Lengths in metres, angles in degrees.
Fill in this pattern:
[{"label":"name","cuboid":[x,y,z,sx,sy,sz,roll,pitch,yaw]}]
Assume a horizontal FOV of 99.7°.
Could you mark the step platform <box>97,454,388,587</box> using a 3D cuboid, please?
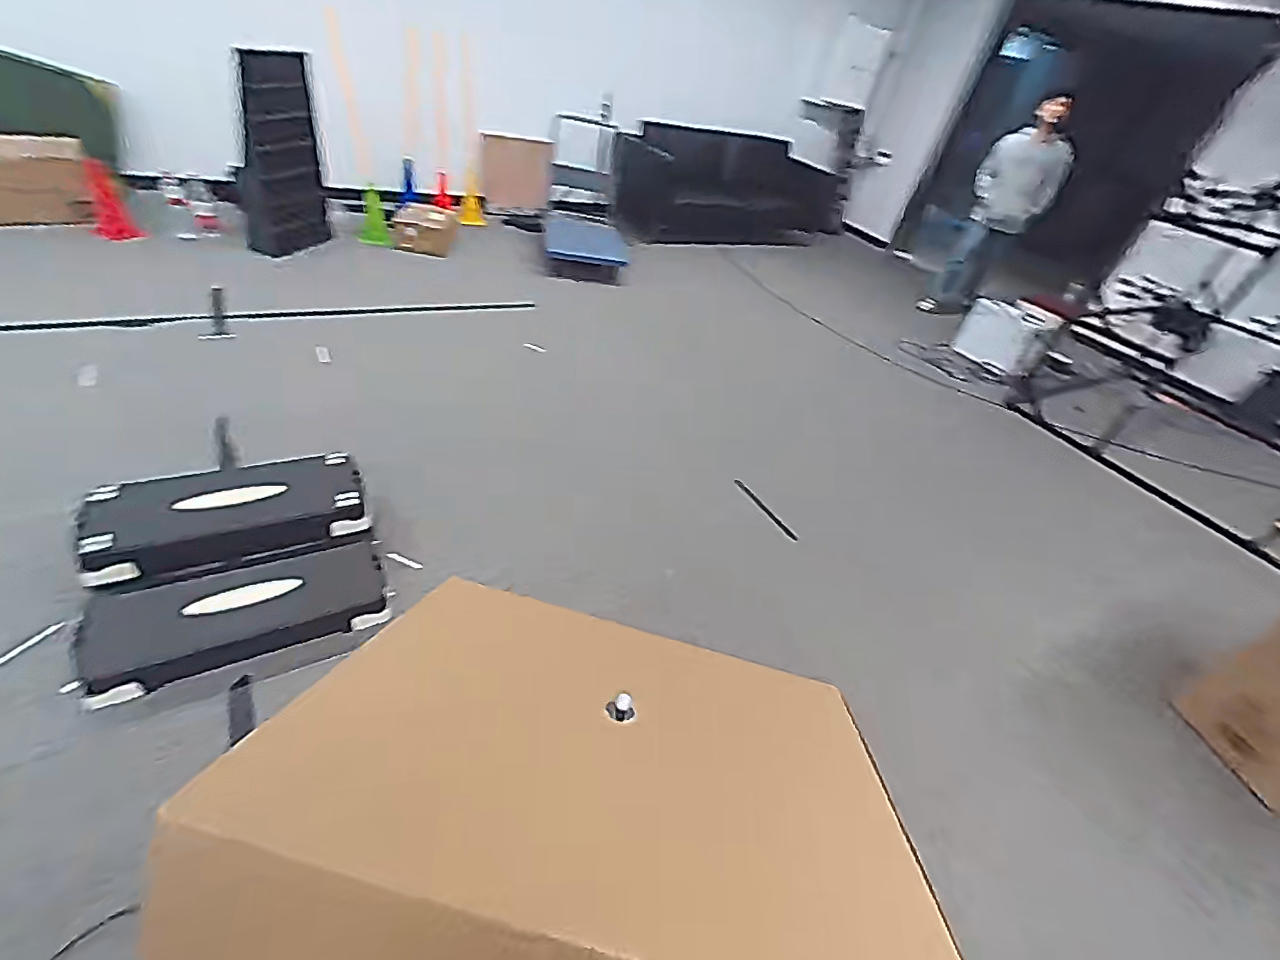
[{"label":"step platform","cuboid":[-1.137,0.097,1.614,0.684,0.204,0.286,-7,43,-26]}]
